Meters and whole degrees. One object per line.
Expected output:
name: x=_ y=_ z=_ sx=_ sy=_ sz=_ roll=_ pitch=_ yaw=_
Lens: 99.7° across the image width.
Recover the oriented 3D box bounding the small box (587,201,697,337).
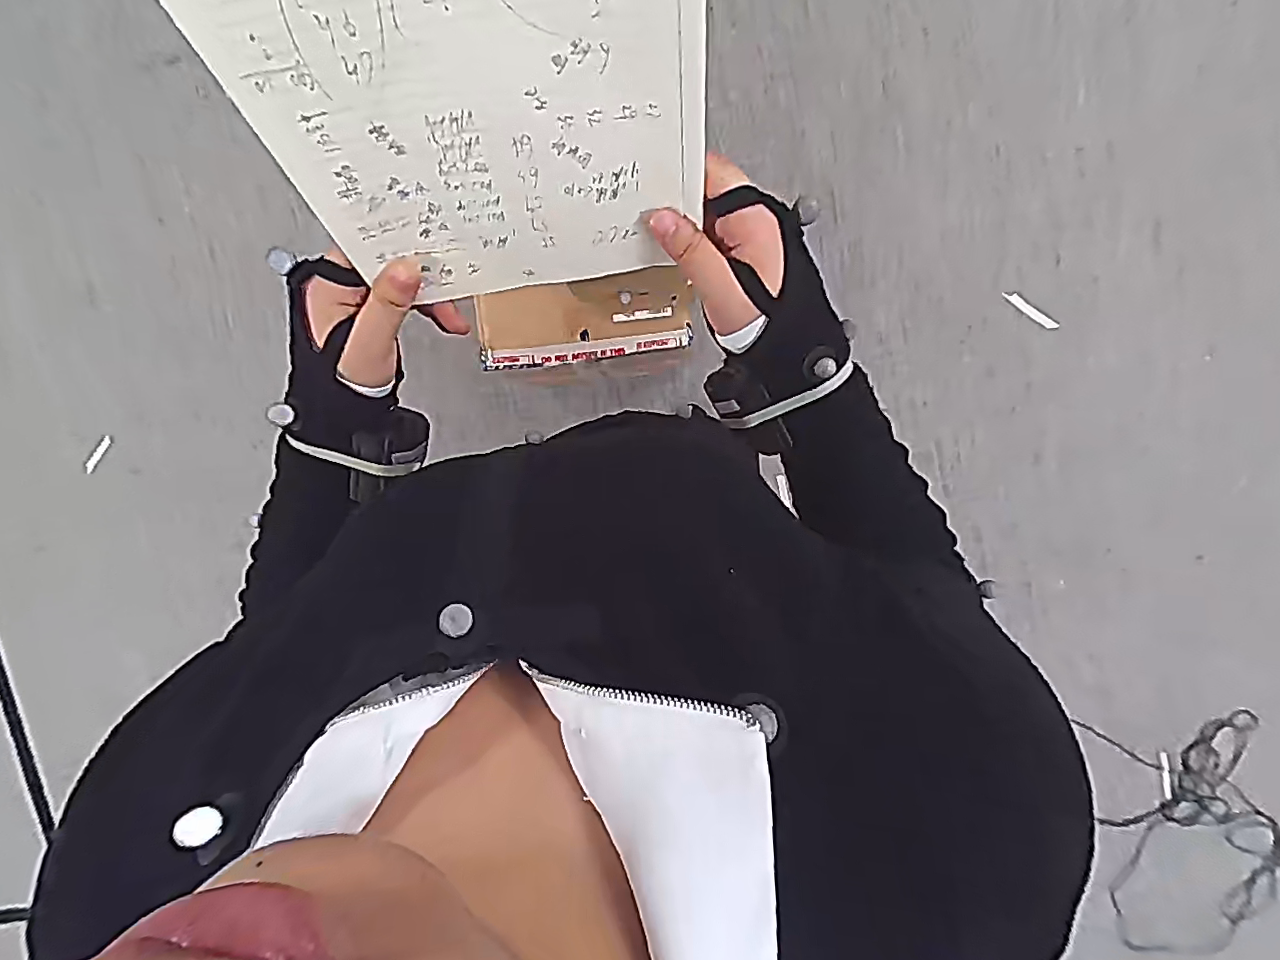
small box: x=-0.008 y=-0.340 z=0.897 sx=0.179 sy=0.176 sz=0.168 roll=-8 pitch=97 yaw=2

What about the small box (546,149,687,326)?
small box: x=-0.029 y=-0.315 z=0.735 sx=0.168 sy=0.176 sz=0.179 roll=-4 pitch=98 yaw=1
